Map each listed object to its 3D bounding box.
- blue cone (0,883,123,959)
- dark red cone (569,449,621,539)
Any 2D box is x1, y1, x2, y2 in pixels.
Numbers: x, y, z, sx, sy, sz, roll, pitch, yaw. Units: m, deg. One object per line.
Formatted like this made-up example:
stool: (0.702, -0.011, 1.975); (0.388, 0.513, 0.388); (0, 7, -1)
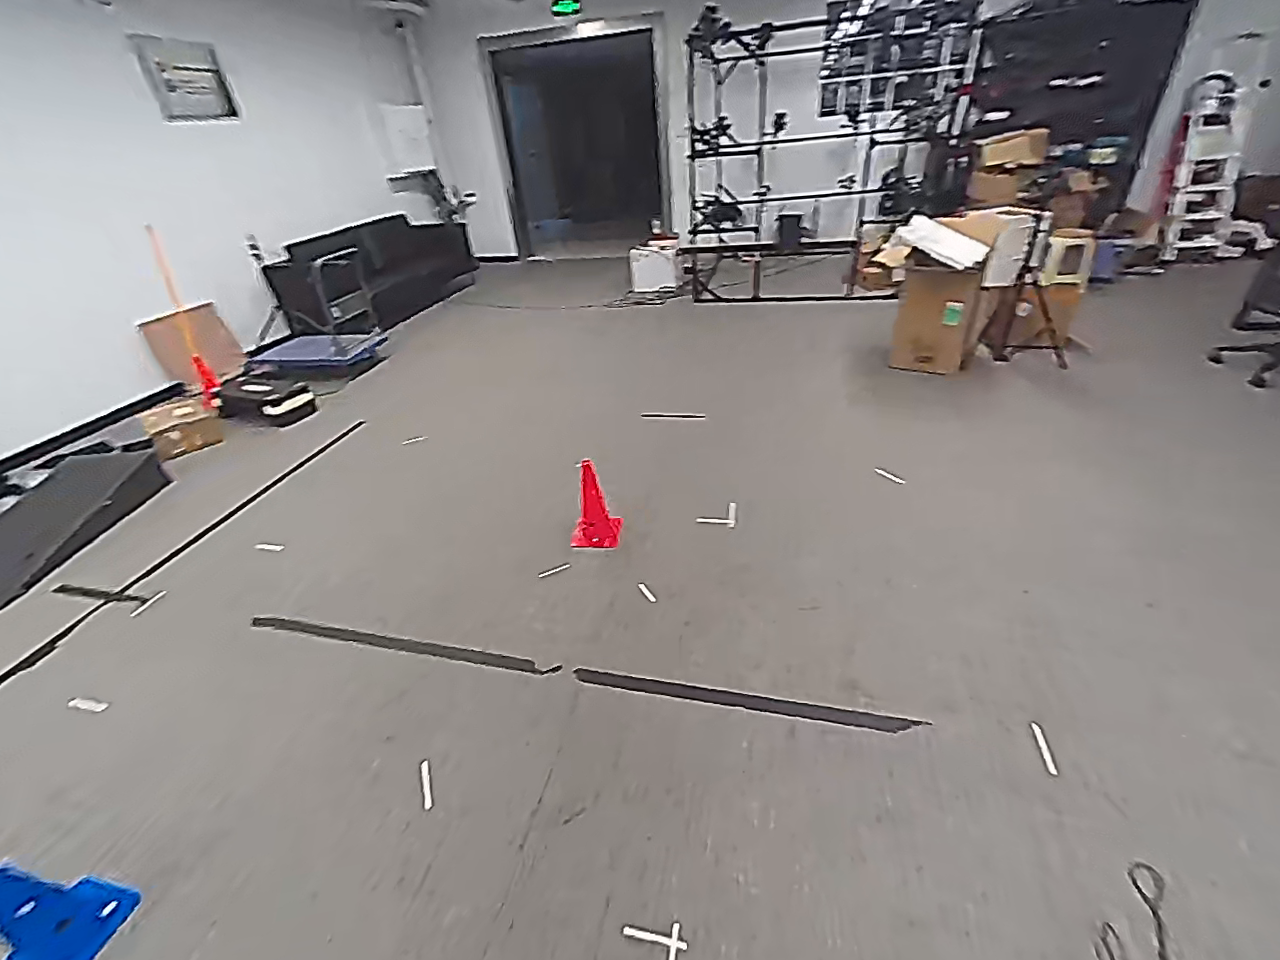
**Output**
blue cone: (-1.302, 0.887, 1.107); (0.193, 0.380, 0.192); (4, 35, 15)
dark red cone: (-0.199, 0.051, 2.195); (0.202, 0.394, 0.201); (-1, 34, 8)
